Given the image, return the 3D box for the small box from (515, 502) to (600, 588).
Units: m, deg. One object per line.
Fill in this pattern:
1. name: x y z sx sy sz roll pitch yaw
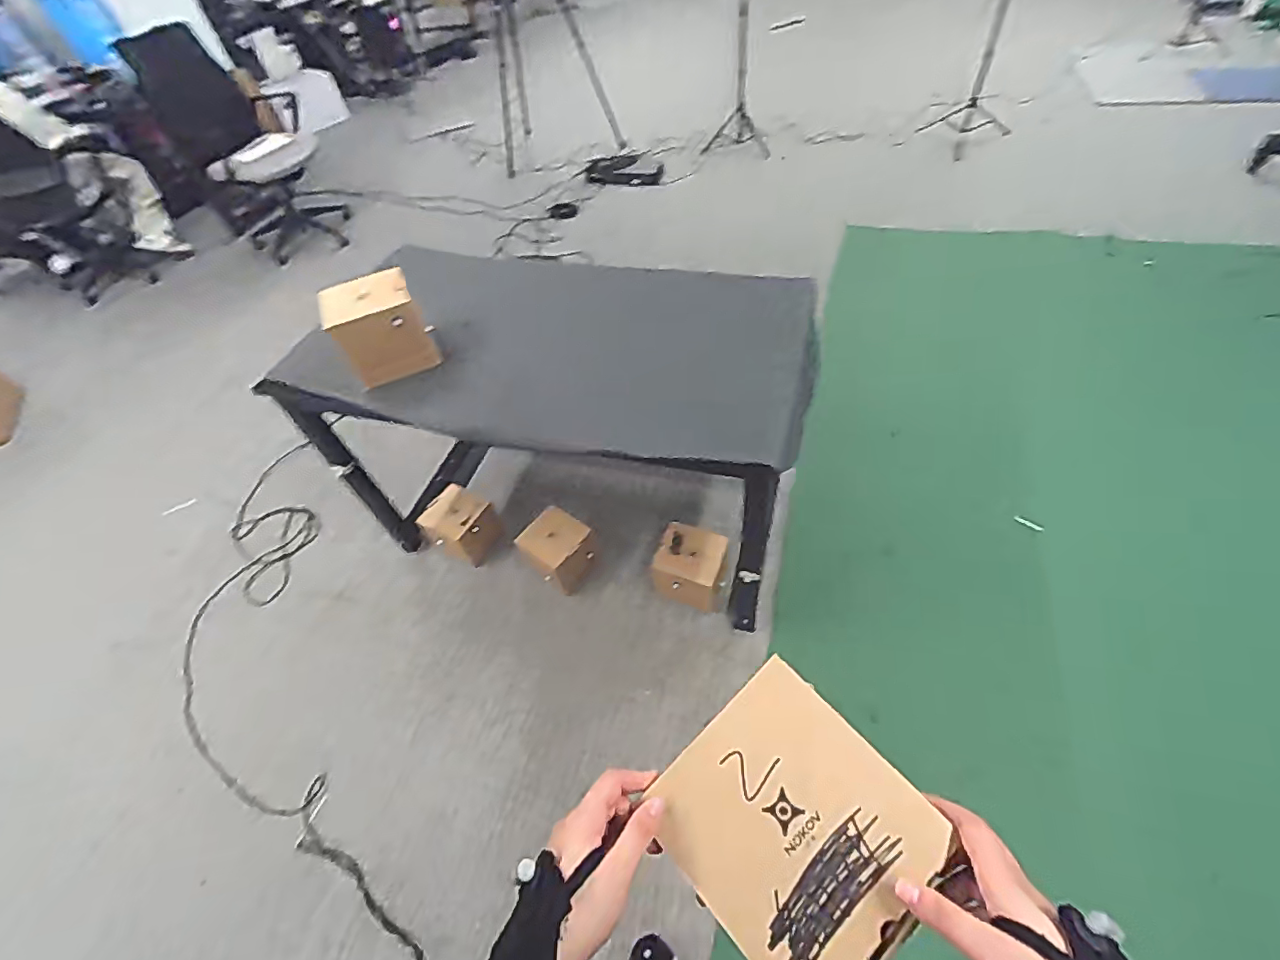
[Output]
1. small box: -0.243 0.205 1.650 0.179 0.176 0.168 27 59 28

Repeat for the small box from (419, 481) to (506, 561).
1. small box: -0.568 0.136 1.752 0.179 0.176 0.168 20 57 23

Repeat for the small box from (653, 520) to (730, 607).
1. small box: 0.151 0.244 1.561 0.179 0.176 0.168 15 55 18

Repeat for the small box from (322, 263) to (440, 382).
1. small box: -0.571 -0.345 1.200 0.179 0.176 0.168 -23 52 -11
